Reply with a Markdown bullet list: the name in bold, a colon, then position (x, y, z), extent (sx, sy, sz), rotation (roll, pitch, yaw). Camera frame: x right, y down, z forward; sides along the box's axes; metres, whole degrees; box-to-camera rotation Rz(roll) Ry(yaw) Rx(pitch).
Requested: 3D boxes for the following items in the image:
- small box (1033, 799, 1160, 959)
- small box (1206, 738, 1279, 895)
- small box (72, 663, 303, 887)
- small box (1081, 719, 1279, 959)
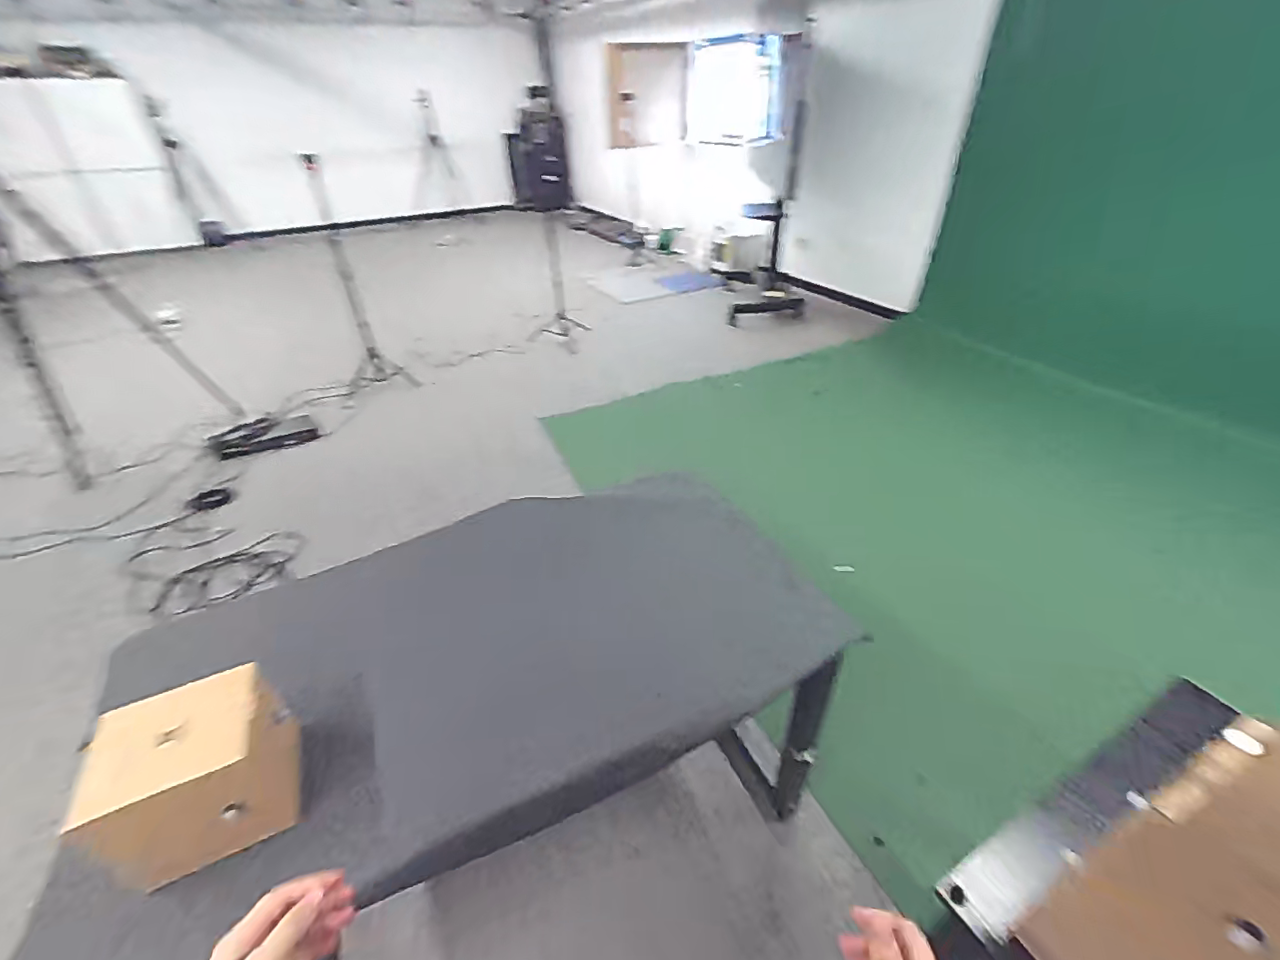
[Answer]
- **small box**: position (0.542, 0.467, 0.544), extent (0.179, 0.176, 0.168), rotation (-18, 40, -21)
- **small box**: position (0.522, 0.216, 0.335), extent (0.179, 0.176, 0.168), rotation (-19, 38, -19)
- **small box**: position (-0.577, 0.389, 0.725), extent (0.179, 0.176, 0.168), rotation (-19, 36, -21)
- **small box**: position (0.525, 0.344, 0.438), extent (0.168, 0.176, 0.179), rotation (-19, 39, -21)
